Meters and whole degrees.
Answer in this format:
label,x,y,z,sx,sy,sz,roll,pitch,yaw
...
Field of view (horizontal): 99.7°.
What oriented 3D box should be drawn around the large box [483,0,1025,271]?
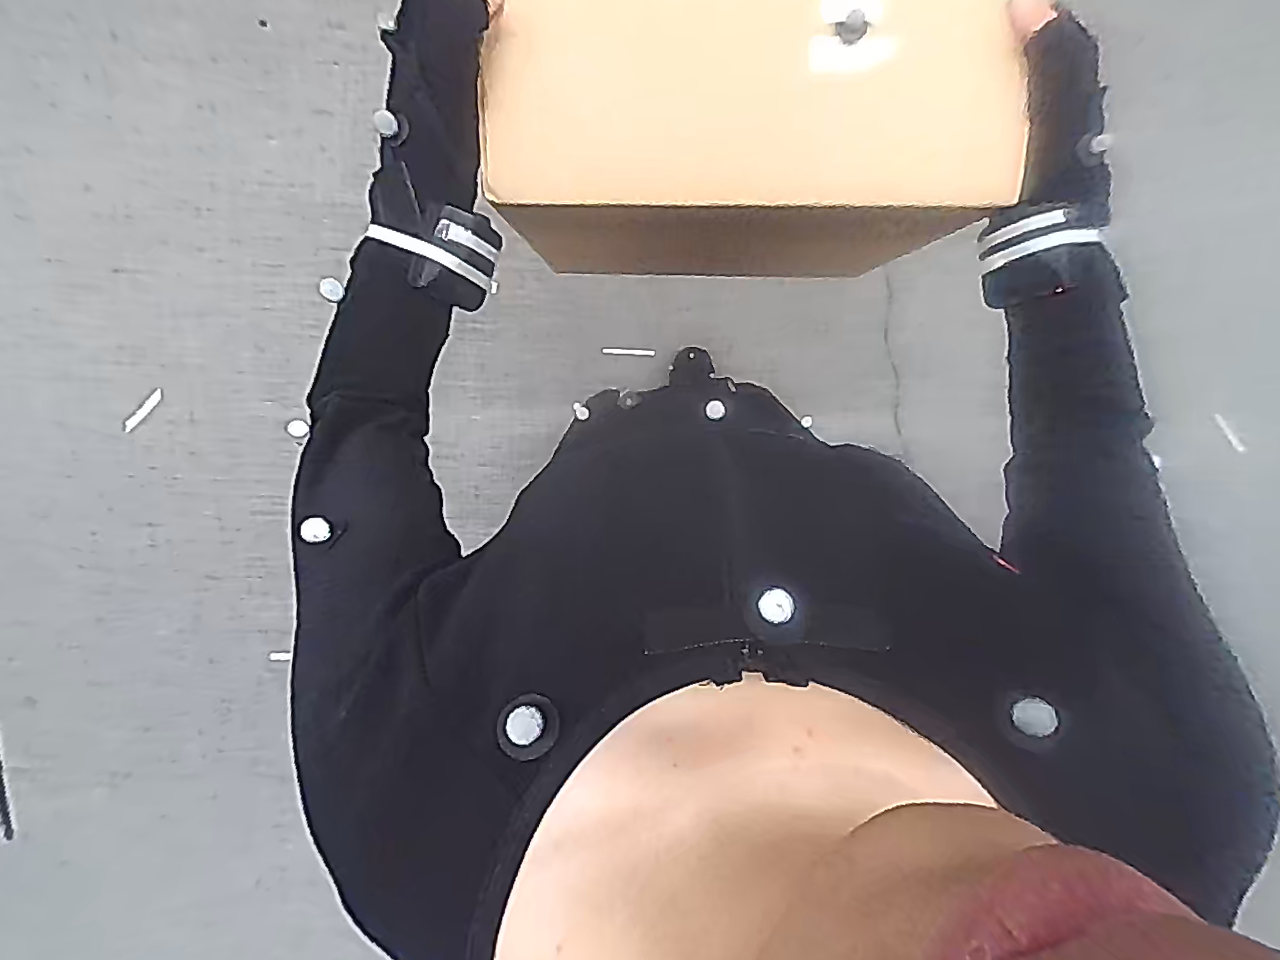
label,x,y,z,sx,sy,sz,roll,pitch,yaw
large box,0.081,-0.401,0.537,0.408,0.320,0.320,0,102,0
